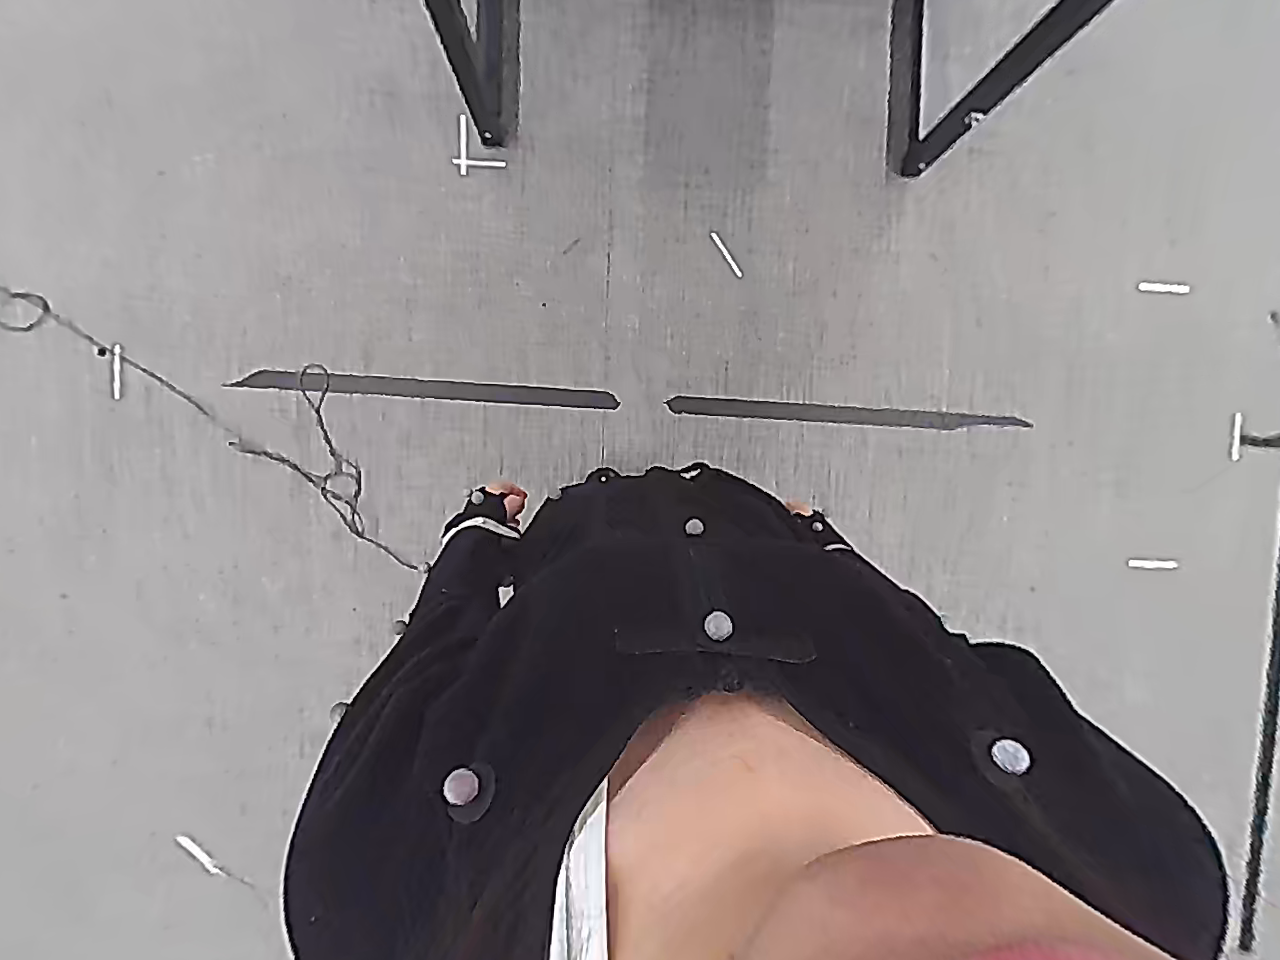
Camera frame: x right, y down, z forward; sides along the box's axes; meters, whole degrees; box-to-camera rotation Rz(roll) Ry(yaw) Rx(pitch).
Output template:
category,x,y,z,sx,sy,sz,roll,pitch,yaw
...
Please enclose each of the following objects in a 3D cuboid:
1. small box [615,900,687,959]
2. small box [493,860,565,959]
category,x,y,z,sx,sy,sz,roll,pitch,yaw
small box,0.024,1.292,1.479,0.179,0.176,0.168,4,93,-5
small box,-0.292,1.159,1.451,0.168,0.176,0.179,-3,94,-3
